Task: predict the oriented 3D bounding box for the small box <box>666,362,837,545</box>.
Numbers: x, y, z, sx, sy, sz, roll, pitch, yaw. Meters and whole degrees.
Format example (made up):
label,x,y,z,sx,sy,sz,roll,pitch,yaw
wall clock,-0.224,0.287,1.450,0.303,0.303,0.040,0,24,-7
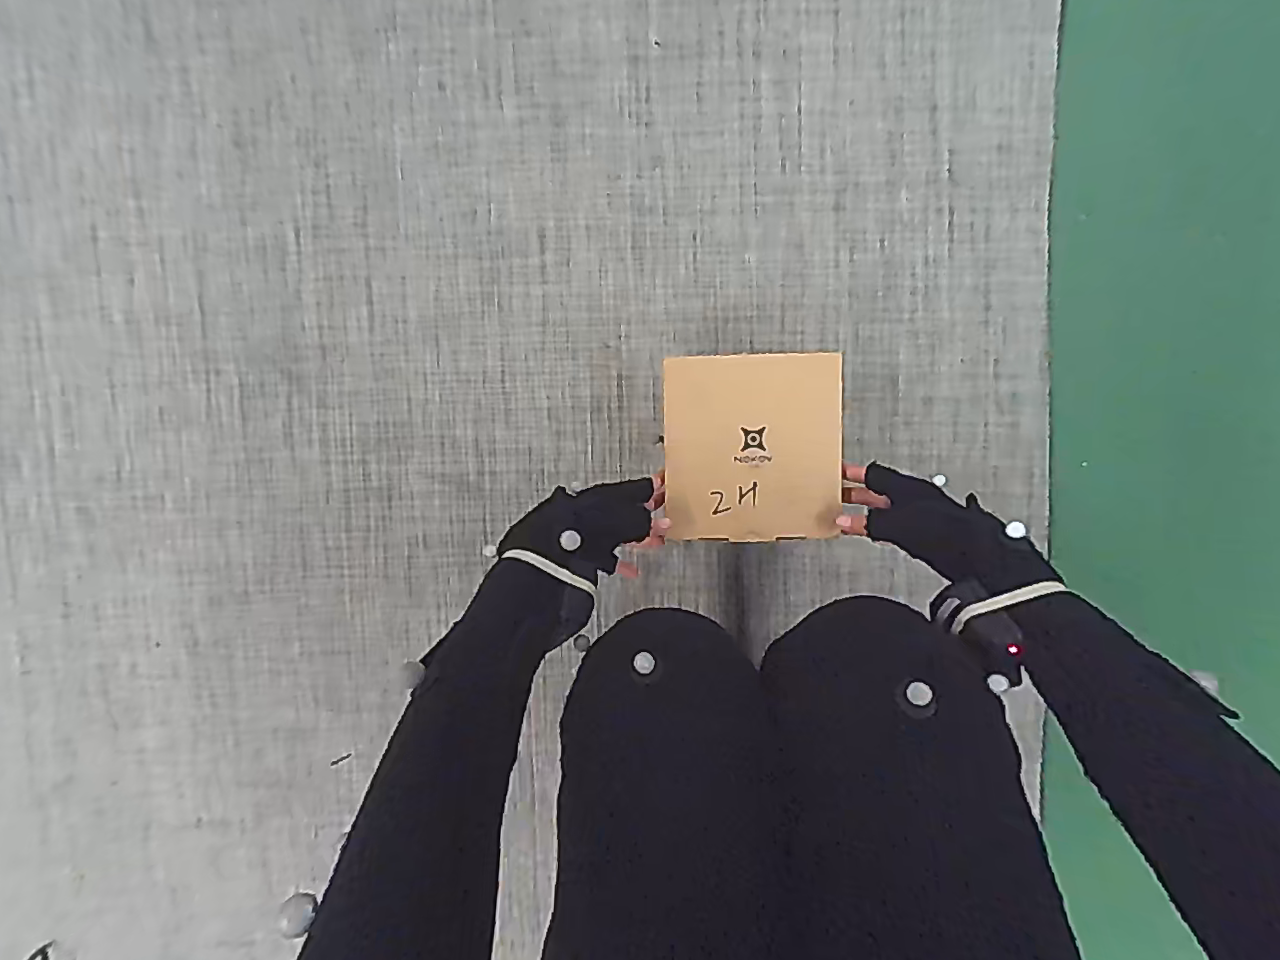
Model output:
label,x,y,z,sx,sy,sz,roll,pitch,yaw
small box,0.112,-0.029,0.601,0.168,0.176,0.179,-1,95,5
